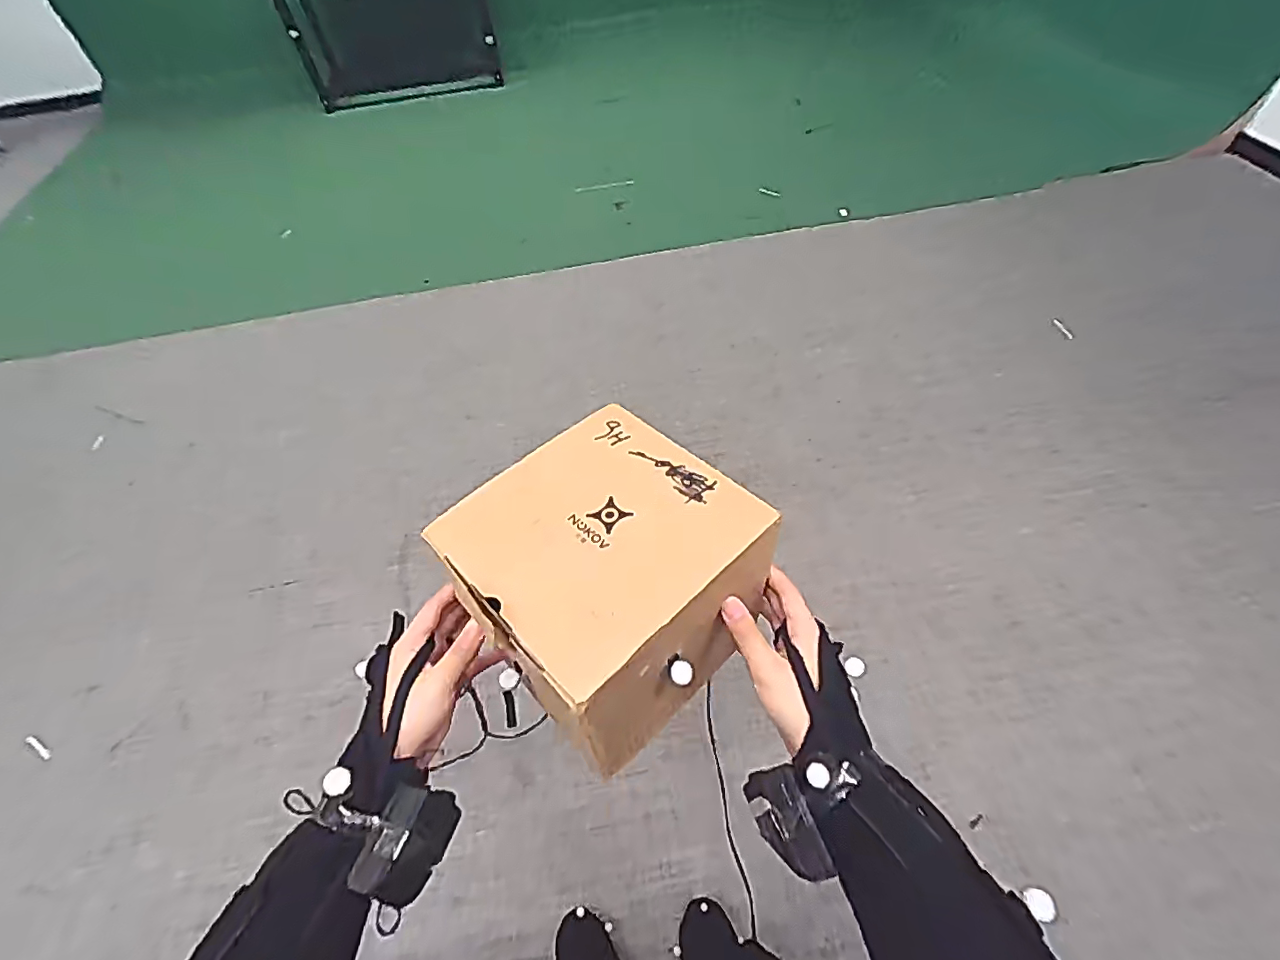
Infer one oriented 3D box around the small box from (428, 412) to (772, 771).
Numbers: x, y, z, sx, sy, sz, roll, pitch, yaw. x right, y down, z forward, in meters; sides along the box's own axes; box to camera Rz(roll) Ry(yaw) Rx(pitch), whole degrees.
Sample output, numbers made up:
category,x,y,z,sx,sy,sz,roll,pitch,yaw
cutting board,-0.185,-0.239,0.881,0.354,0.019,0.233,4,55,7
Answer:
category,x,y,z,sx,sy,sz,roll,pitch,yaw
small box,-0.022,0.086,0.418,0.179,0.176,0.168,-38,57,-25
